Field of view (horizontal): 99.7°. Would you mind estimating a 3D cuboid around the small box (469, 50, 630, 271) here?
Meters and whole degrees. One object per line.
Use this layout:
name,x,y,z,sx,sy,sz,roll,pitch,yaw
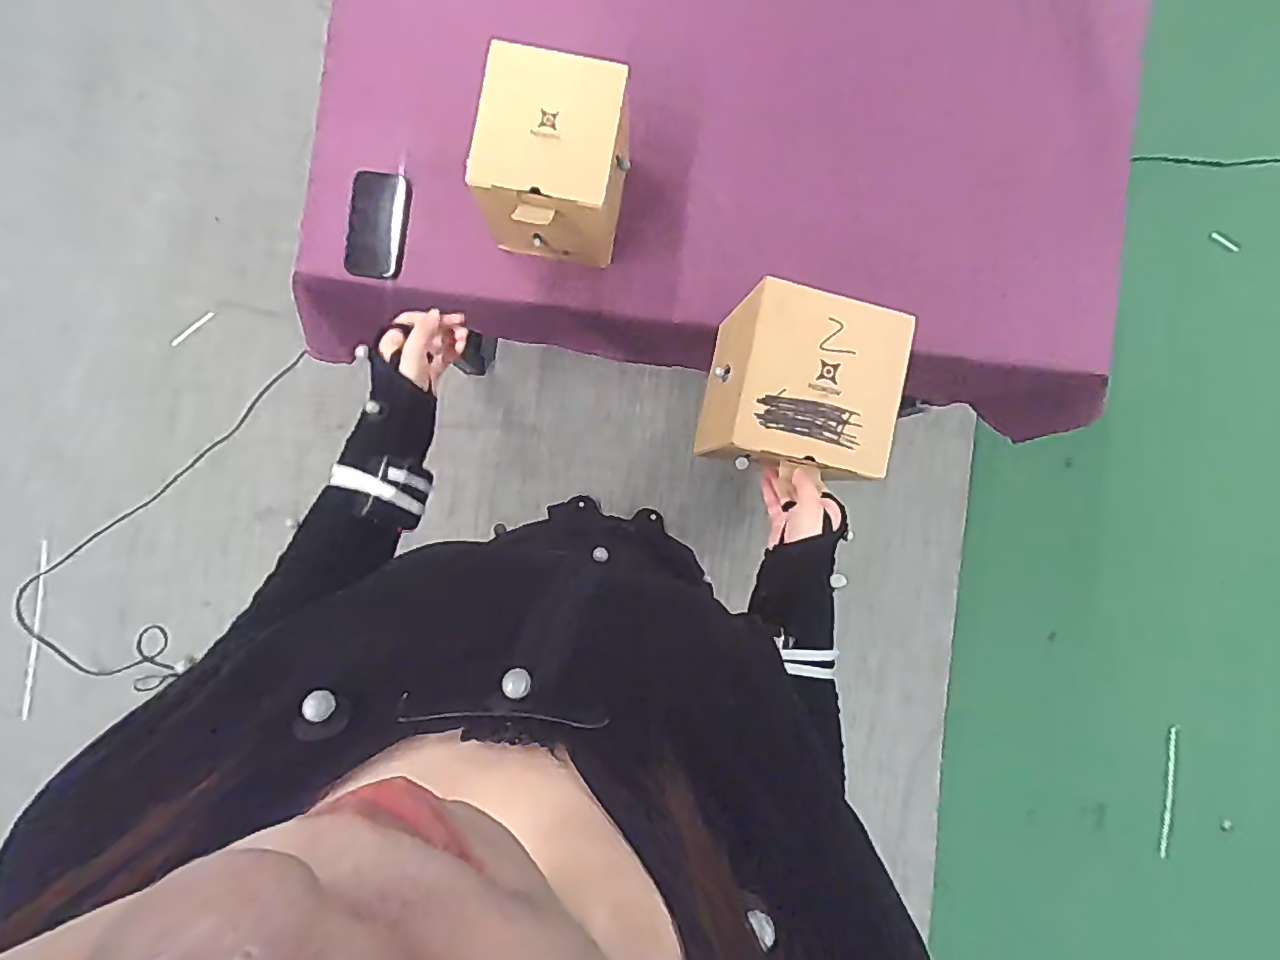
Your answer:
small box,-0.111,-0.411,0.722,0.168,0.176,0.179,10,88,-2
